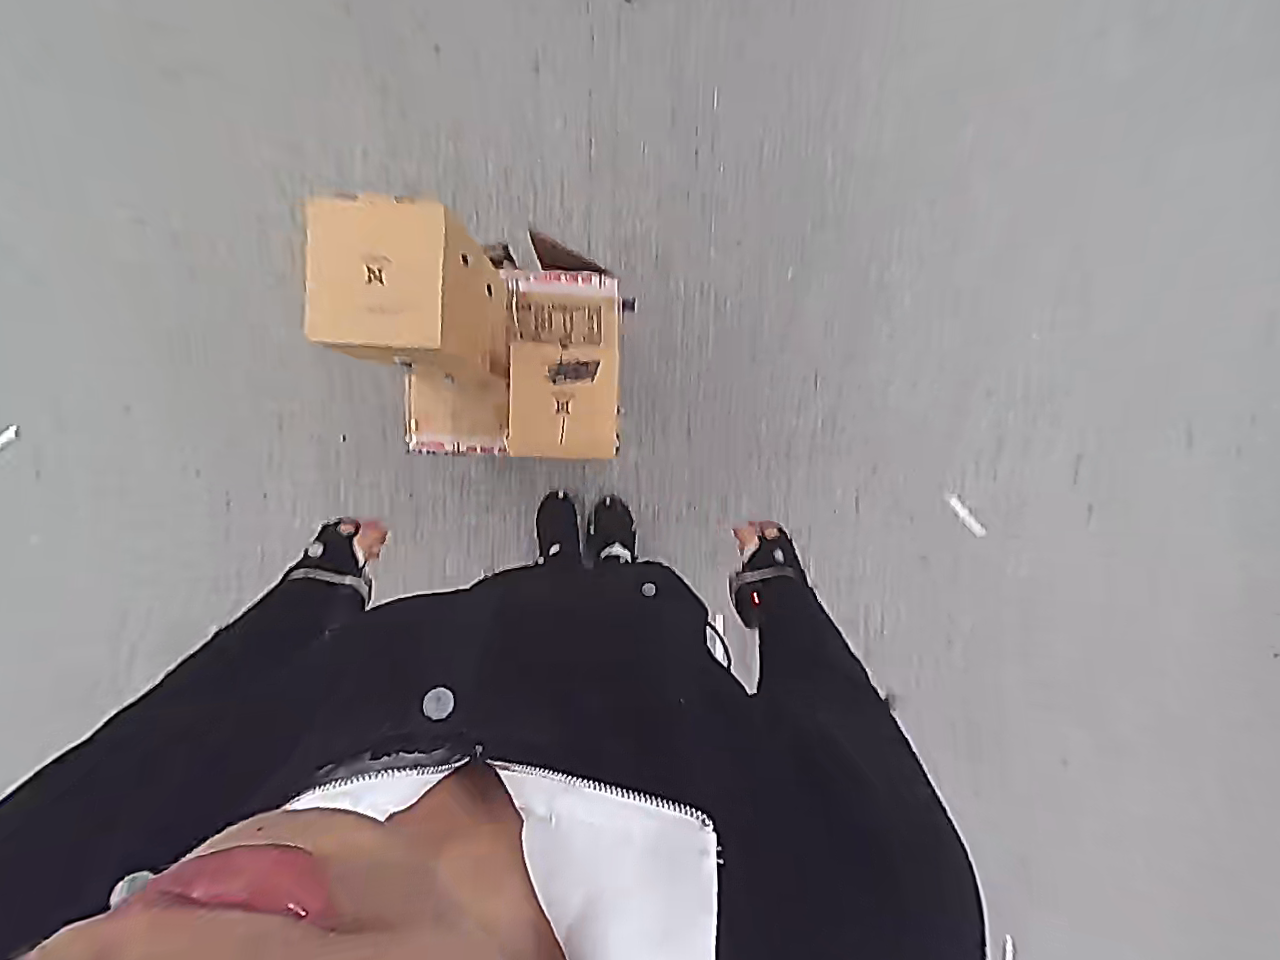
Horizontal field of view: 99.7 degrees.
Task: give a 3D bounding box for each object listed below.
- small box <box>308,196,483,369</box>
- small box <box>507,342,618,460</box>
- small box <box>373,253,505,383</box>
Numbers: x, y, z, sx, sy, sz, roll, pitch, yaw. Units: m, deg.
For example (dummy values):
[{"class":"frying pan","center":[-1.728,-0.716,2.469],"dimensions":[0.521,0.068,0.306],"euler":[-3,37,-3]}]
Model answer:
[{"class":"small box","center":[-0.318,-0.254,0.732],"dimensions":[0.168,0.176,0.179],"euler":[2,94,0]},{"class":"small box","center":[-0.126,-0.125,0.913],"dimensions":[0.168,0.176,0.179],"euler":[2,94,-4]},{"class":"small box","center":[-0.325,-0.264,0.895],"dimensions":[0.168,0.176,0.179],"euler":[2,93,-1]}]
